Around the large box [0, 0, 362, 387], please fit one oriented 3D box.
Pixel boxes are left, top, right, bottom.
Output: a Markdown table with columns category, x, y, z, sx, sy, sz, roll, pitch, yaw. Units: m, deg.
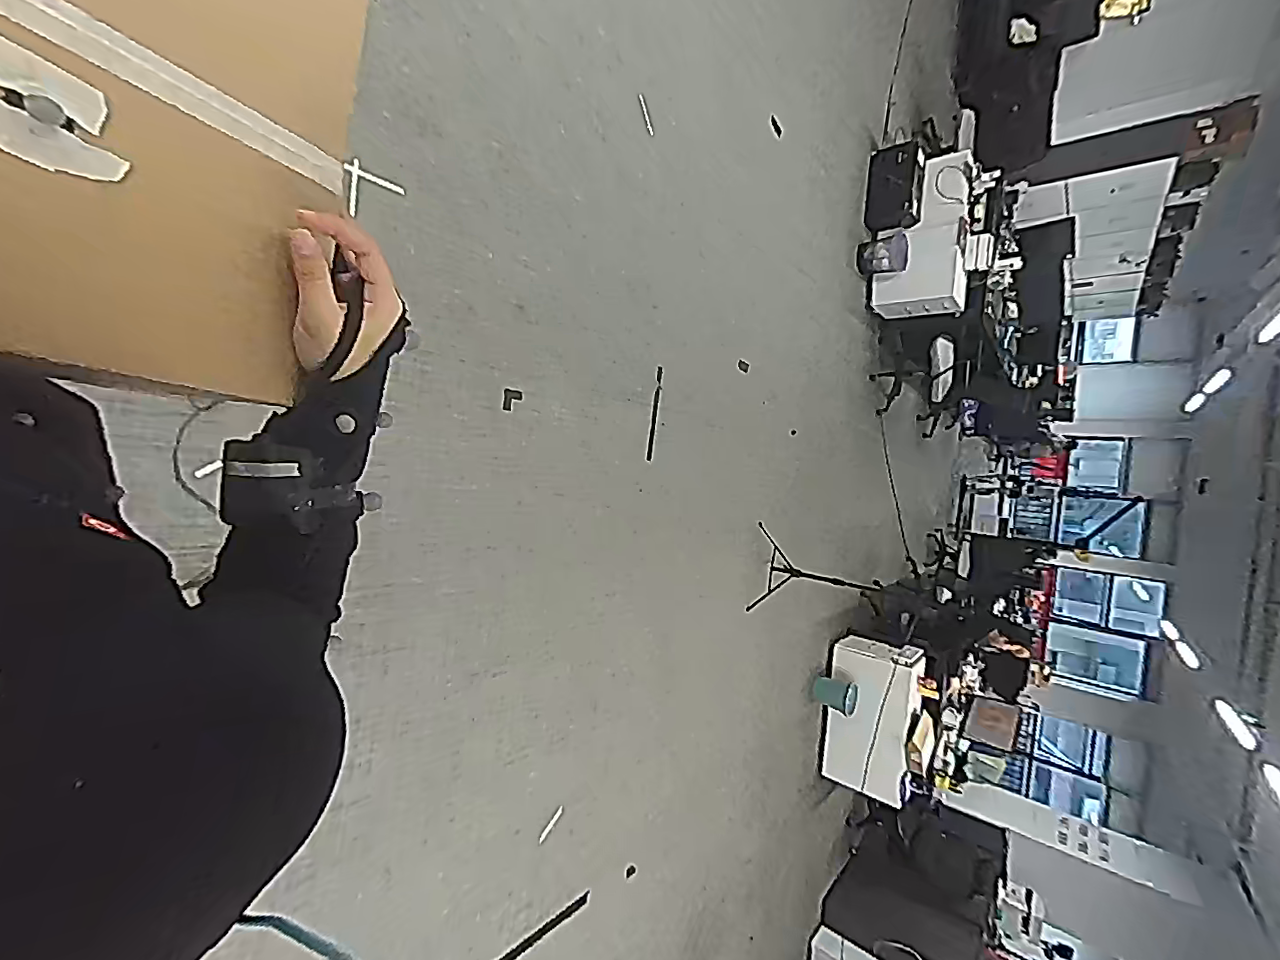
| category | x | y | z | sx | sy | sz | roll | pitch | yaw |
| --- | --- | --- | --- | --- | --- | --- | --- | --- | --- |
| large box | -0.440 | -0.246 | 0.285 | 0.408 | 0.320 | 0.320 | 10 | 90 | -60 |
